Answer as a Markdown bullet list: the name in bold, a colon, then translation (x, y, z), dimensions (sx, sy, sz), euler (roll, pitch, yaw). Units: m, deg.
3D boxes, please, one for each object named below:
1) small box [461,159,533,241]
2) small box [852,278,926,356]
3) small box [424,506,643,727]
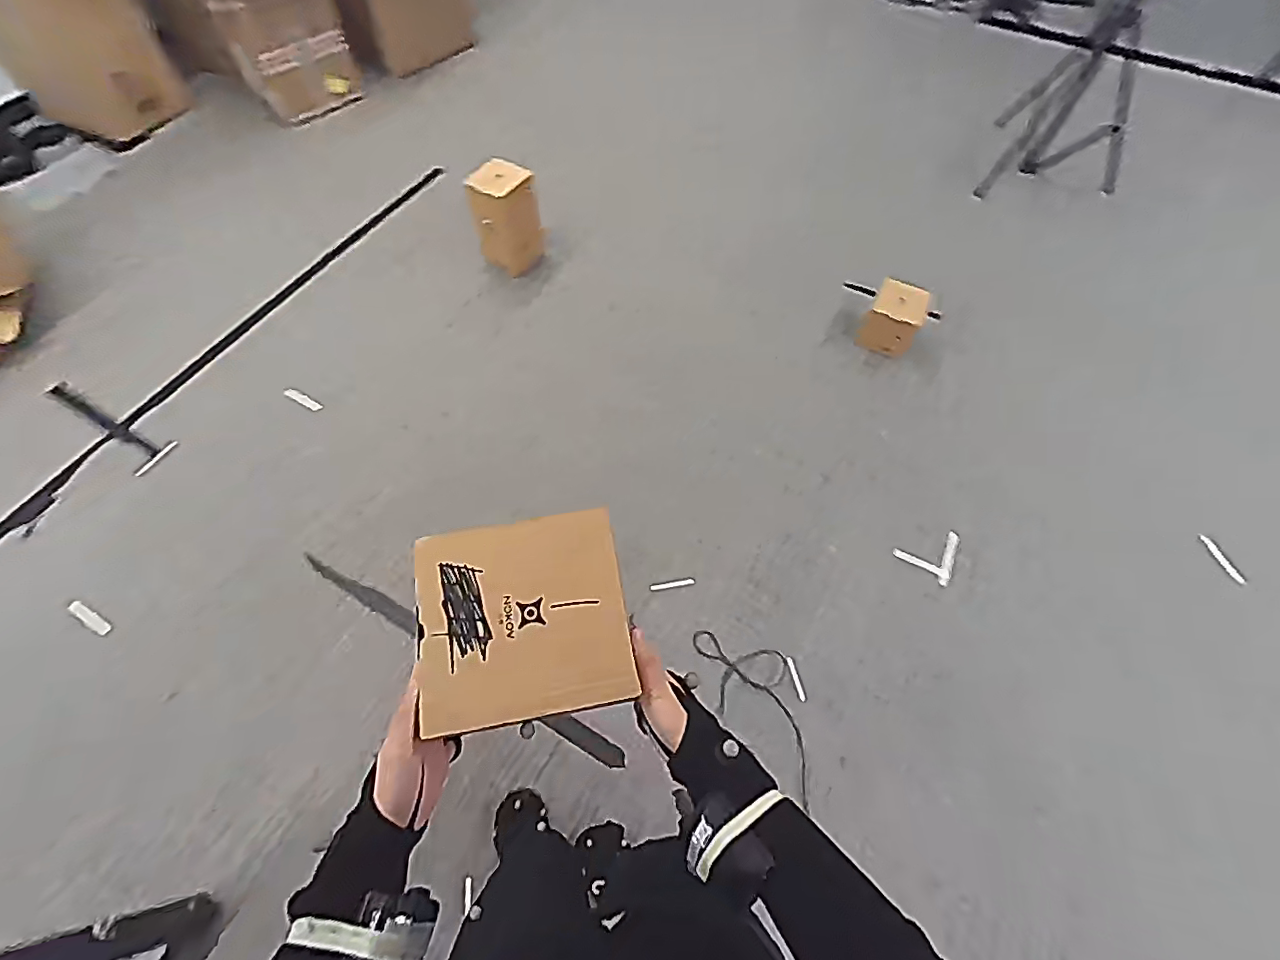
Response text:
- **small box**: translation (-0.497, -0.987, 1.911), dimensions (0.168, 0.176, 0.179), euler (29, 66, 15)
- **small box**: translation (0.863, -0.564, 1.887), dimensions (0.168, 0.176, 0.179), euler (24, 63, 11)
- **small box**: translation (-0.093, 0.140, 0.530), dimensions (0.179, 0.176, 0.168), euler (-9, 68, -4)
